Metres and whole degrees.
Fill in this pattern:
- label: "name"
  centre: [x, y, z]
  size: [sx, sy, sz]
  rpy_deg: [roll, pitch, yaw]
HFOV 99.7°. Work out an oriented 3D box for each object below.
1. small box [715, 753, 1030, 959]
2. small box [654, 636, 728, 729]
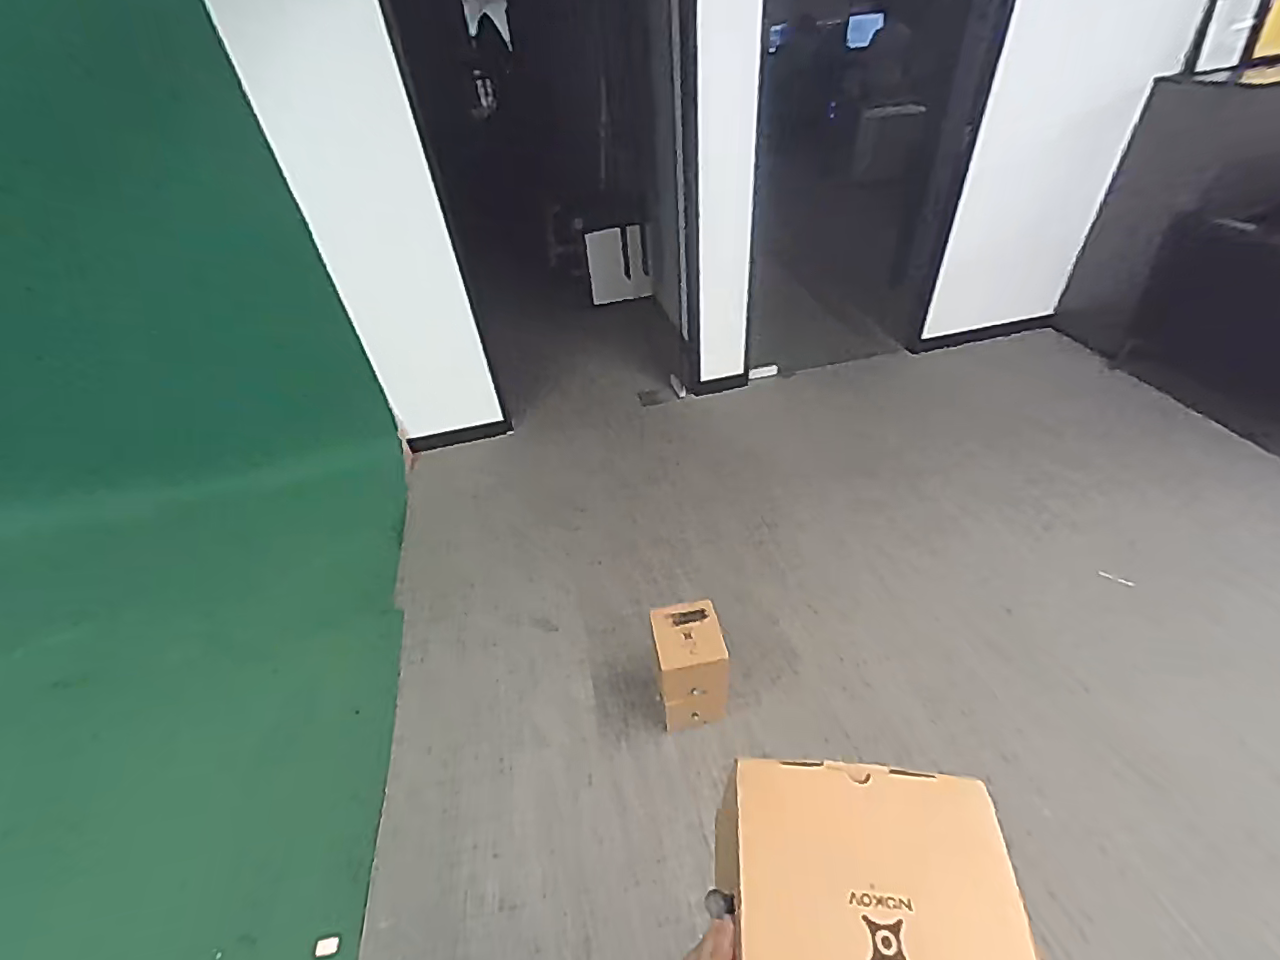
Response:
- label: "small box"
  centre: [0.141, 0.314, 0.373]
  size: [0.168, 0.176, 0.179]
  rpy_deg: [2, 45, 5]
- label: "small box"
  centre: [0.141, 0.567, 1.497]
  size: [0.168, 0.176, 0.179]
  rpy_deg: [-11, 42, -5]
